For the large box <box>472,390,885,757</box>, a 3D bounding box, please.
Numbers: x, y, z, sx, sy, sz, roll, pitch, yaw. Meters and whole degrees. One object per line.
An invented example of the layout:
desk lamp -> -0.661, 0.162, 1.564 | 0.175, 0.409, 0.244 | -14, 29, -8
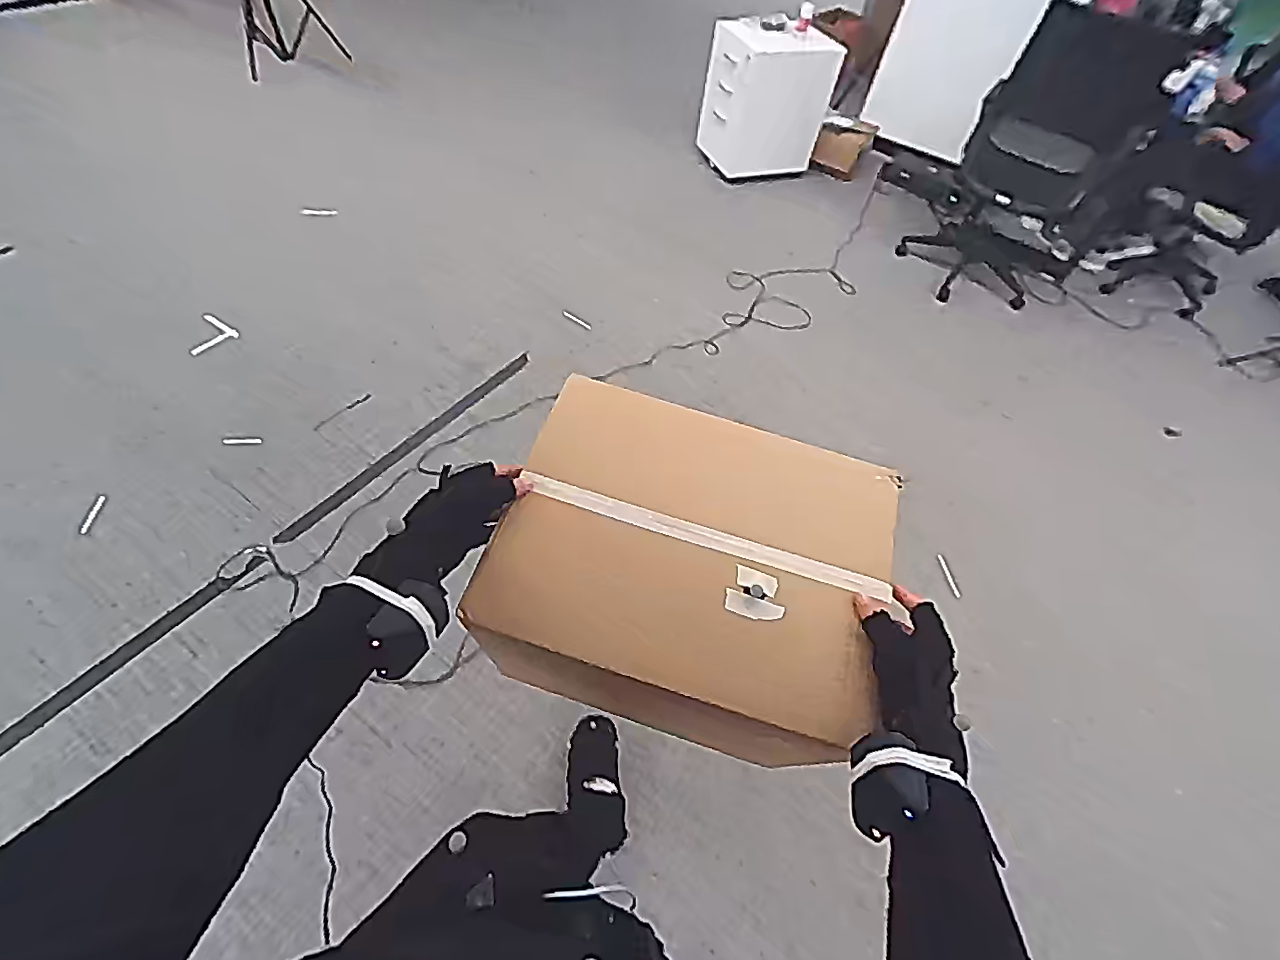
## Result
large box -> 0.048, 0.139, 0.716 | 0.408, 0.320, 0.320 | 18, 62, 3
